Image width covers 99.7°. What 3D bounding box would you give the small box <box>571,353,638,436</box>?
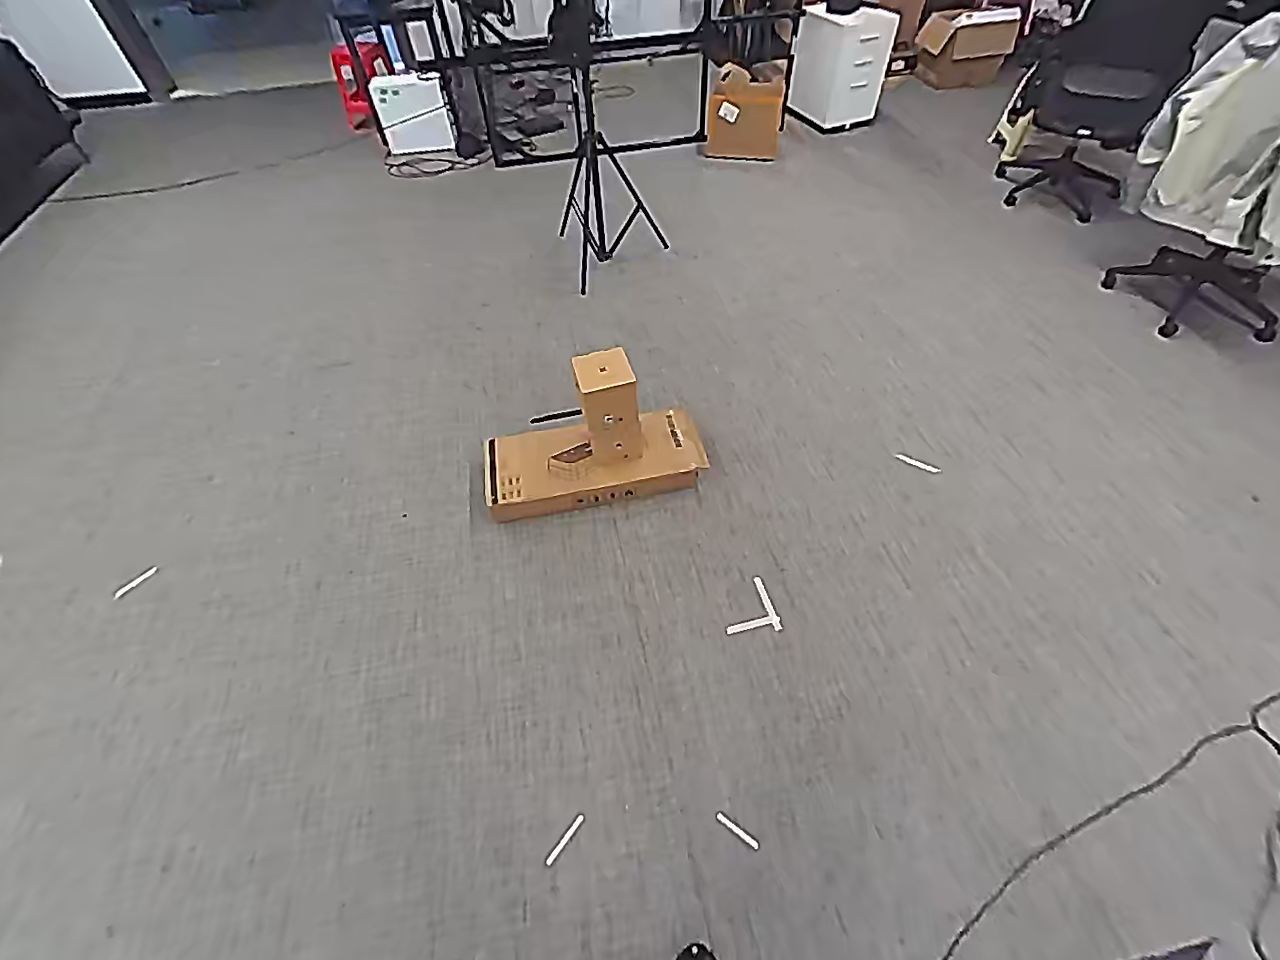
[{"bbox_3d":[-0.109,-0.264,1.682,0.168,0.176,0.179,-15,52,-8],"label":"small box"}]

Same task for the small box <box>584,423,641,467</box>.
[{"bbox_3d":[-0.095,-0.162,1.808,0.168,0.176,0.179,-12,52,-8],"label":"small box"}]
